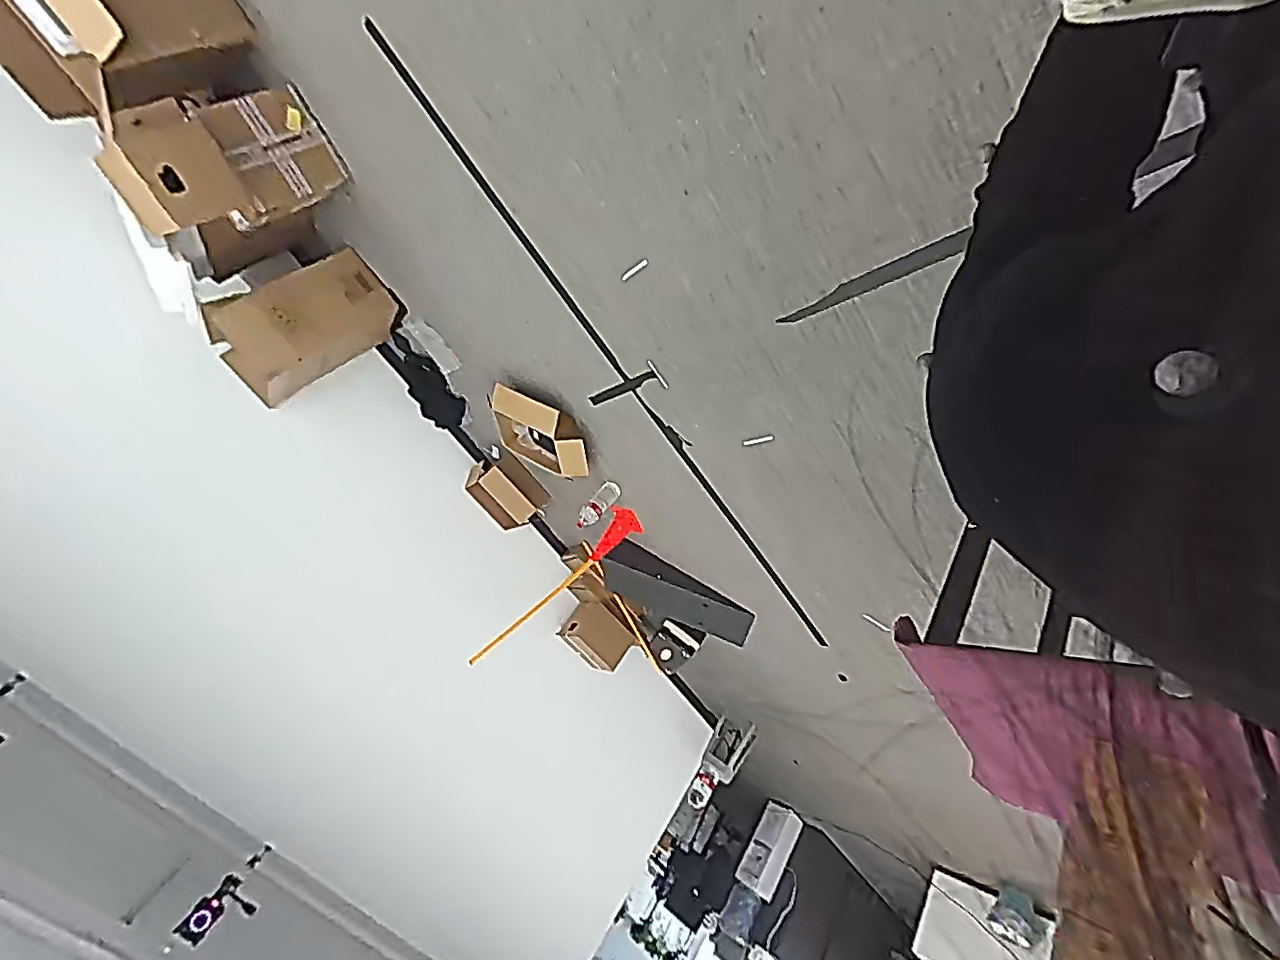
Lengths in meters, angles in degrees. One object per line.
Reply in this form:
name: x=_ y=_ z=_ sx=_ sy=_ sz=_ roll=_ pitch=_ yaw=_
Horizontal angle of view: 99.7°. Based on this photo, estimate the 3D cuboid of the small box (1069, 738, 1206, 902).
small box: x=0.940 y=0.628 z=1.019 sx=0.168 sy=0.176 sz=0.179 roll=-4 pitch=127 yaw=50

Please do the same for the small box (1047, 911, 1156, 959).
small box: x=0.753 y=0.836 z=0.851 sx=0.168 sy=0.176 sz=0.179 roll=0 pitch=132 yaw=50
